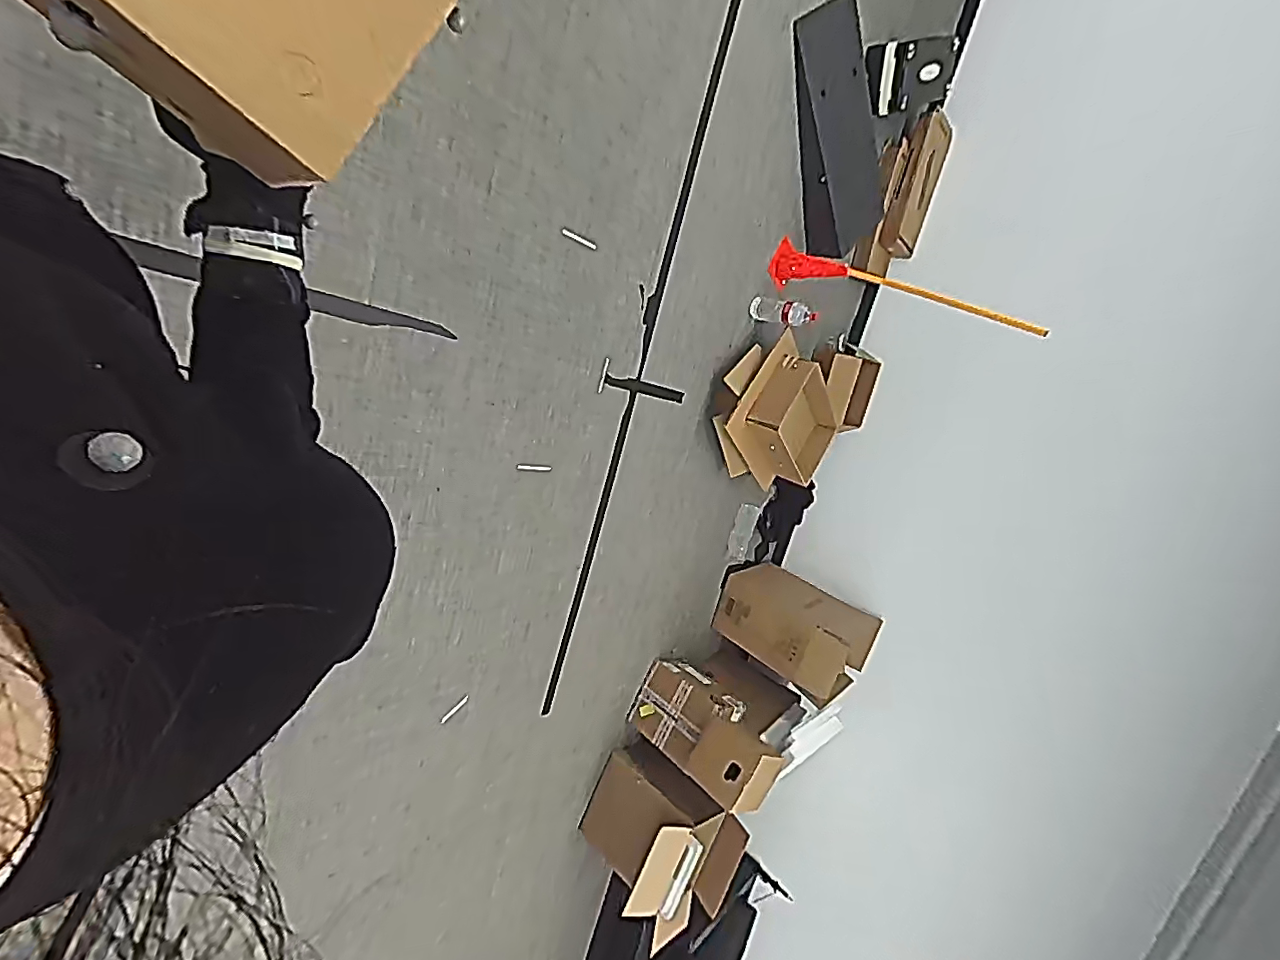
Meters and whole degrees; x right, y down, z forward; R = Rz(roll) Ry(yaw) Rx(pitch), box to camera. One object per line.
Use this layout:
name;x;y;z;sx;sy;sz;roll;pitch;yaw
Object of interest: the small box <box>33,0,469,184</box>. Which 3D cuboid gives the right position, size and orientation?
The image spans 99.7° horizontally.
small box;-0.217;-0.291;0.296;0.168;0.176;0.179;35;84;-48
